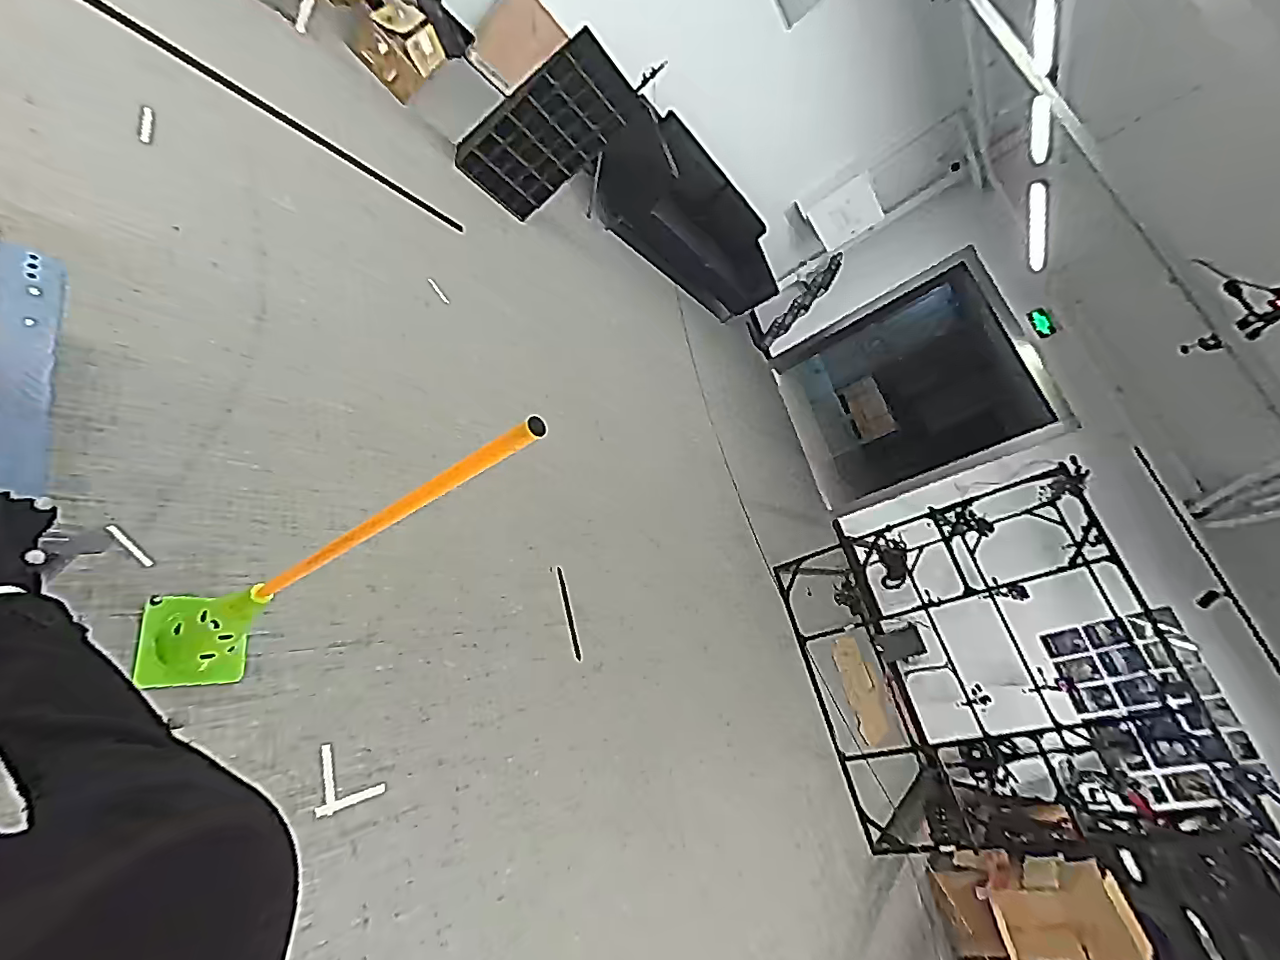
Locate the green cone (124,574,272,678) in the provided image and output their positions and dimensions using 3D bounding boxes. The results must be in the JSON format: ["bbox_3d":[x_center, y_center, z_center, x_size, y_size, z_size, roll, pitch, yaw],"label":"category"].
[{"bbox_3d":[-0.897,0.278,1.151,0.202,0.368,0.200,21,49,-52],"label":"green cone"}]
